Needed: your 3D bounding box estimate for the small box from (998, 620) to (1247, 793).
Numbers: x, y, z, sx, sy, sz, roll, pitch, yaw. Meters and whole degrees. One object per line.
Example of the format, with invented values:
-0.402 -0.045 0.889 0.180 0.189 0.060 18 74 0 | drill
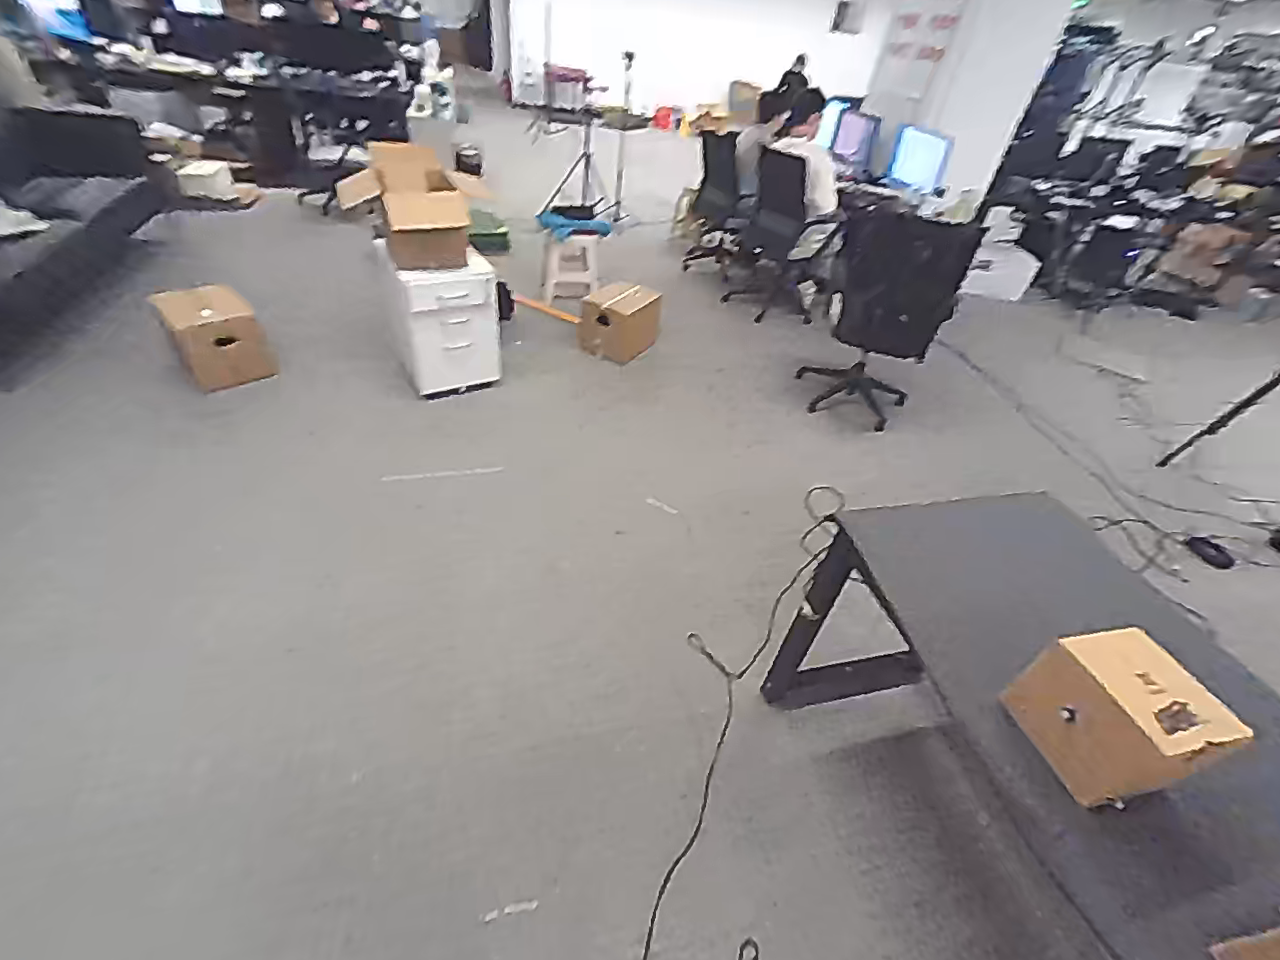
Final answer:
0.692 0.336 0.801 0.168 0.176 0.179 -3 39 -15 | small box
